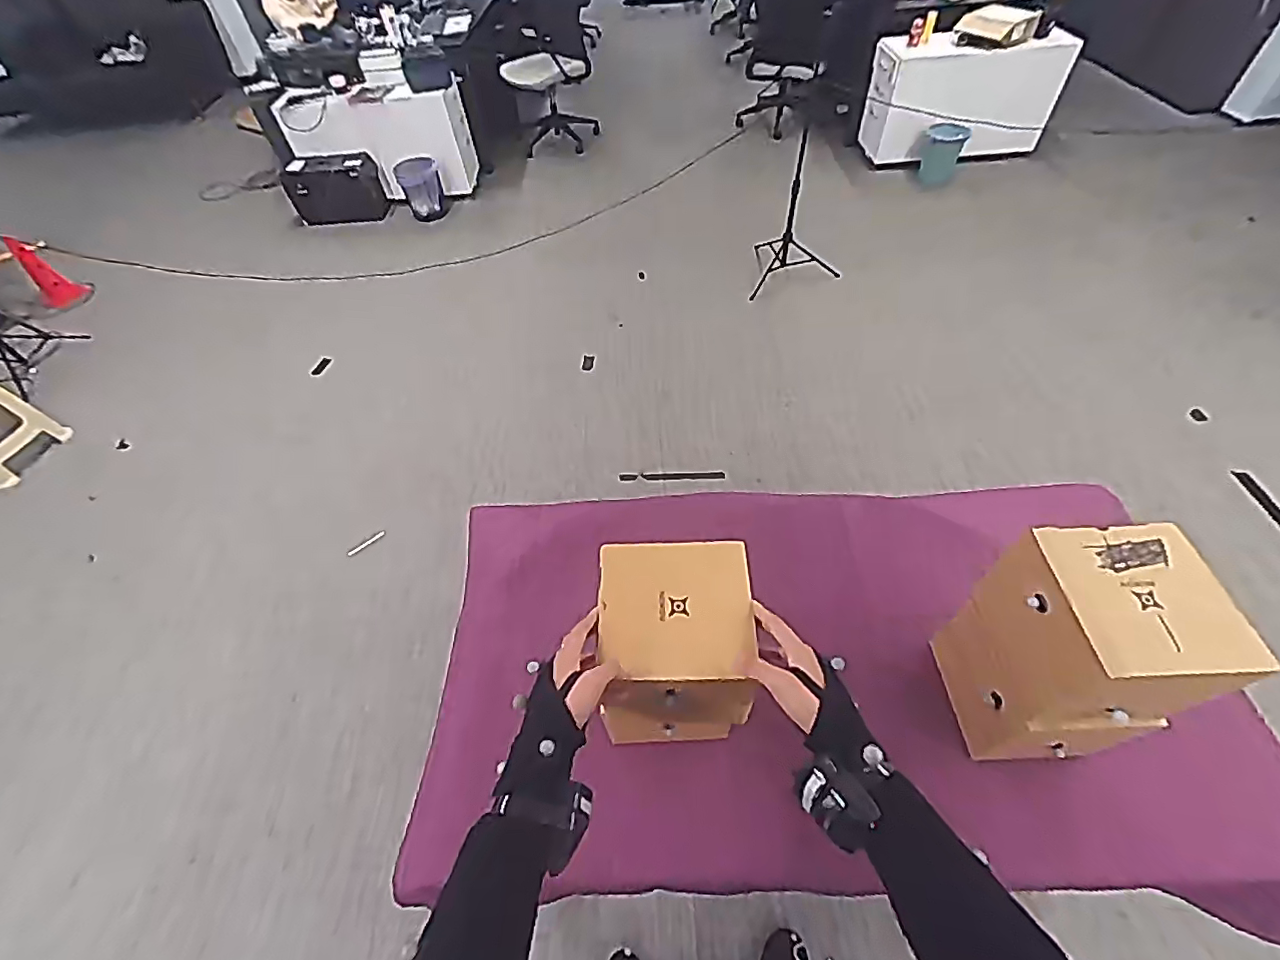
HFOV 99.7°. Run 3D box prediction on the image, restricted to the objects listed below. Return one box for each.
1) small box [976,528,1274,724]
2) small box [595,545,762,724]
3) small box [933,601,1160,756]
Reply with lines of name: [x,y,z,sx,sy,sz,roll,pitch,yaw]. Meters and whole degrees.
small box: [0.541,0.175,0.643,0.168,0.176,0.179,-3,52,3]
small box: [0.045,0.194,0.669,0.179,0.176,0.168,-2,52,3]
small box: [0.550,0.284,0.766,0.168,0.176,0.179,-3,52,2]
